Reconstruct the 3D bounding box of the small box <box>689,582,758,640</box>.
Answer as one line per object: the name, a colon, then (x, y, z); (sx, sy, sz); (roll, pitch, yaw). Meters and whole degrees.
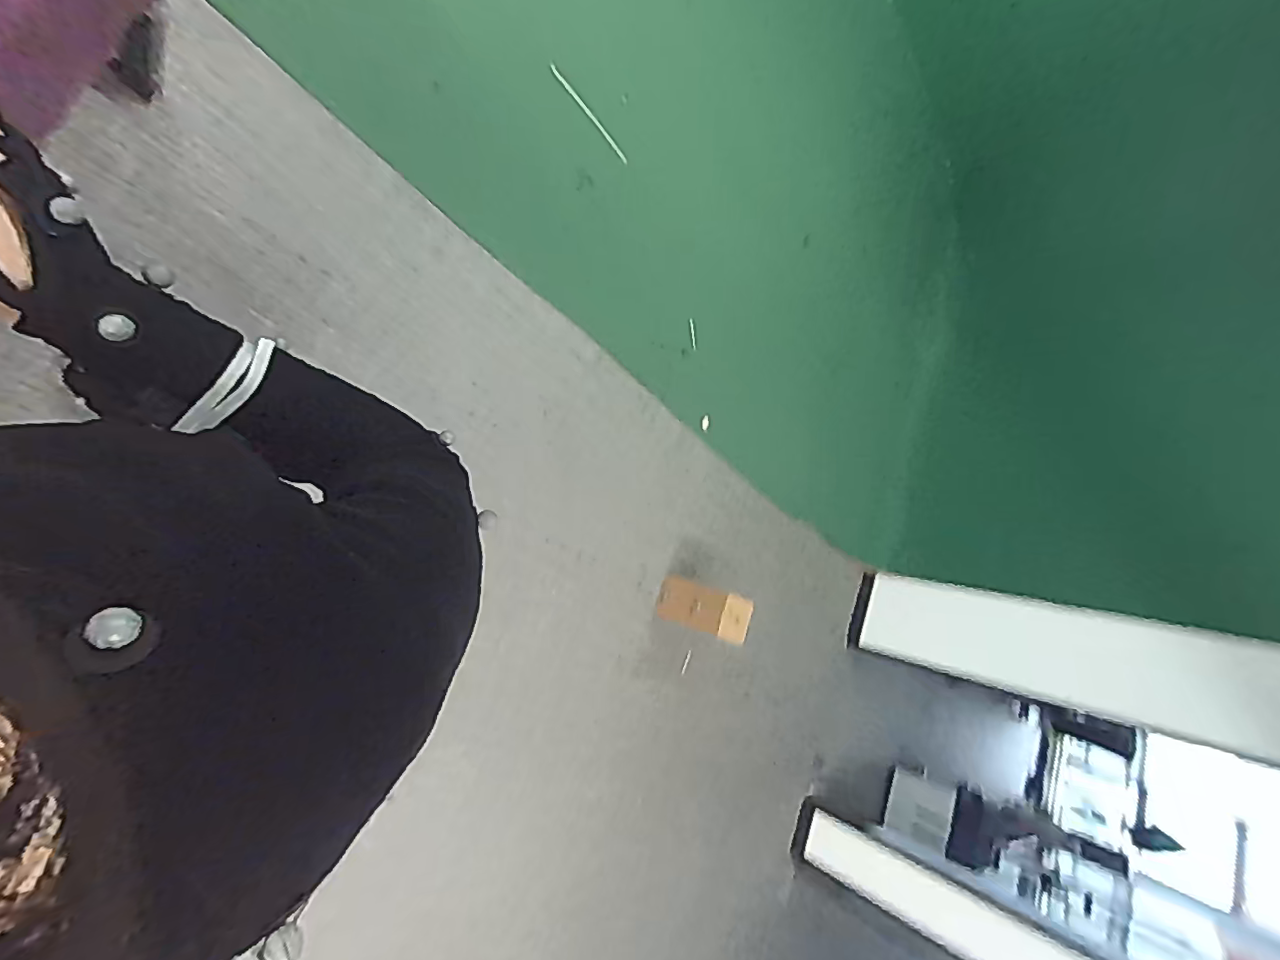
small box: (0.321, 0.500, 2.077); (0.179, 0.176, 0.168); (29, 74, -39)
